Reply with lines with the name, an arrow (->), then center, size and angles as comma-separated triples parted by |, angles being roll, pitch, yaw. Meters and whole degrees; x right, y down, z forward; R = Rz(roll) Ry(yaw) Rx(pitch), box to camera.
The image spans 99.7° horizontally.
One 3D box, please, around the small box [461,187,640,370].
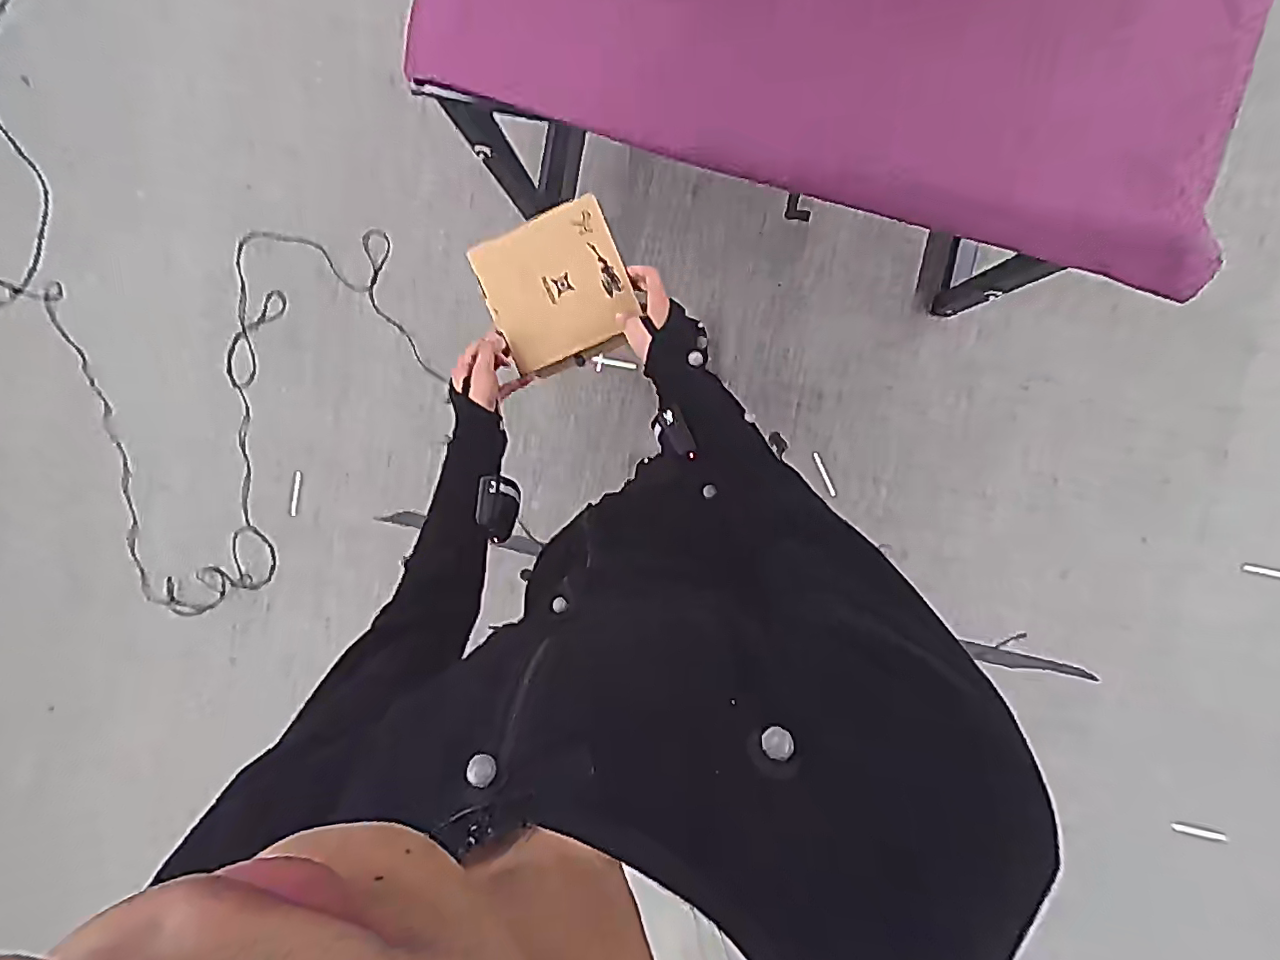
small box -> -0.108, -0.258, 0.742 | 0.179, 0.176, 0.168 | -22, 98, 5
